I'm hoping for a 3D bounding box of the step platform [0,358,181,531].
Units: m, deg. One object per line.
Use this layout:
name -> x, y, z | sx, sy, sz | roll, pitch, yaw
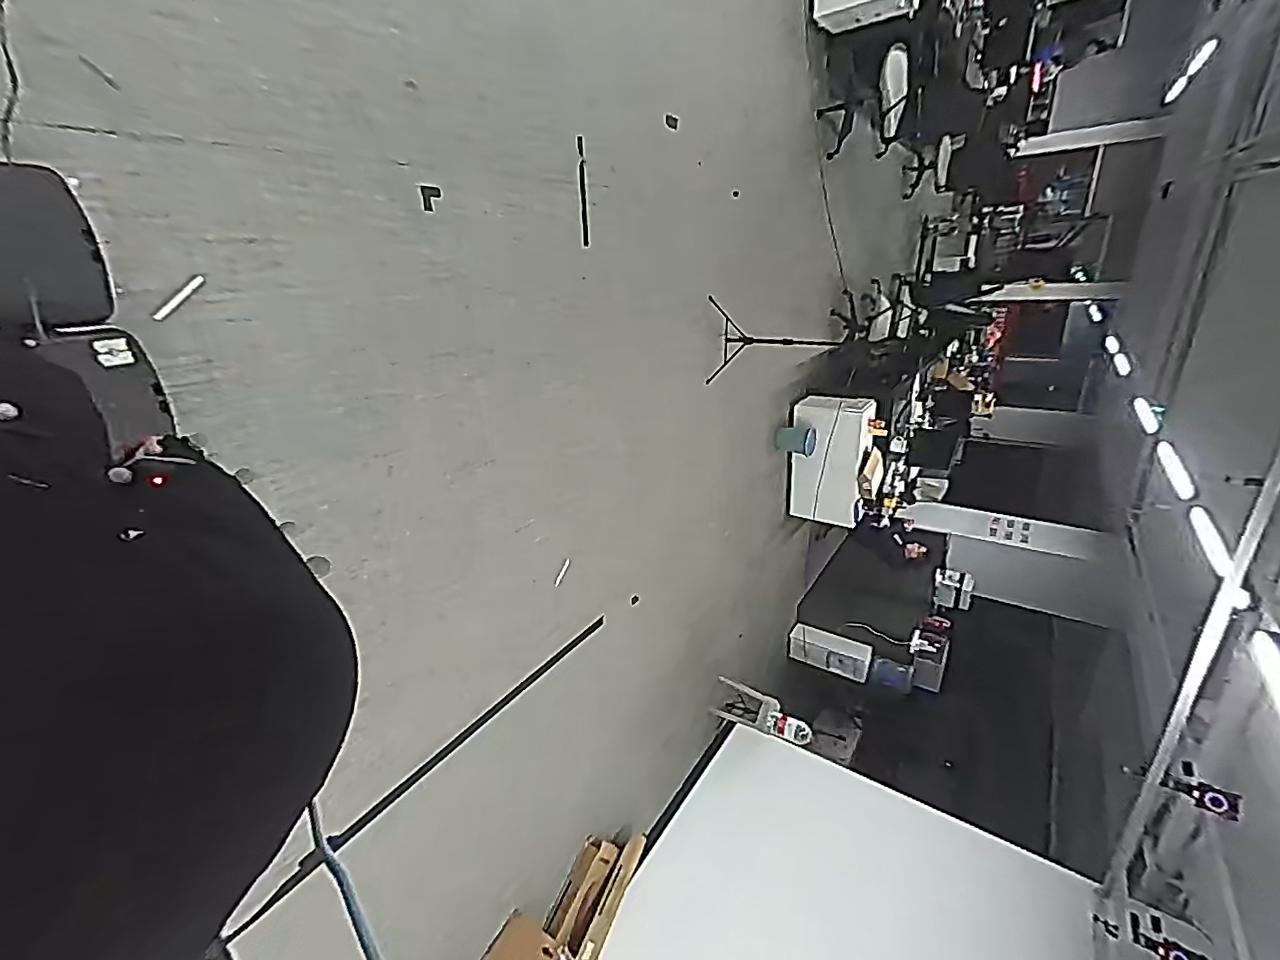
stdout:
step platform -> -1.219, -0.038, 0.908 | 0.684, 0.204, 0.286 | -22, 116, -50
